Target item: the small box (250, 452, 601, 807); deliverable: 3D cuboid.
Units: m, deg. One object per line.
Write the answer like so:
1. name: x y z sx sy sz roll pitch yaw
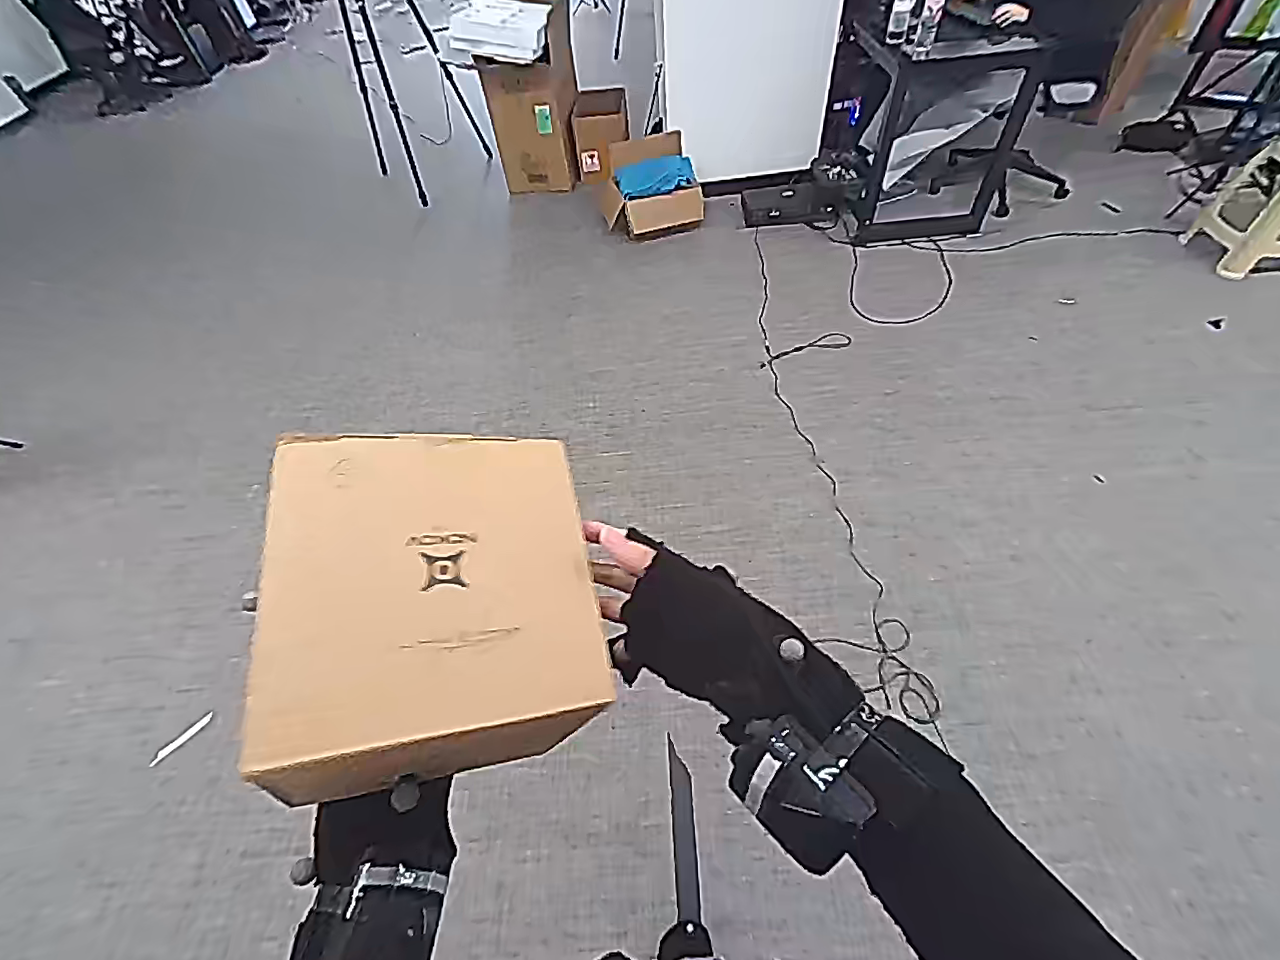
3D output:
1. small box: -0.141 0.100 0.371 0.168 0.176 0.179 -1 56 -23
